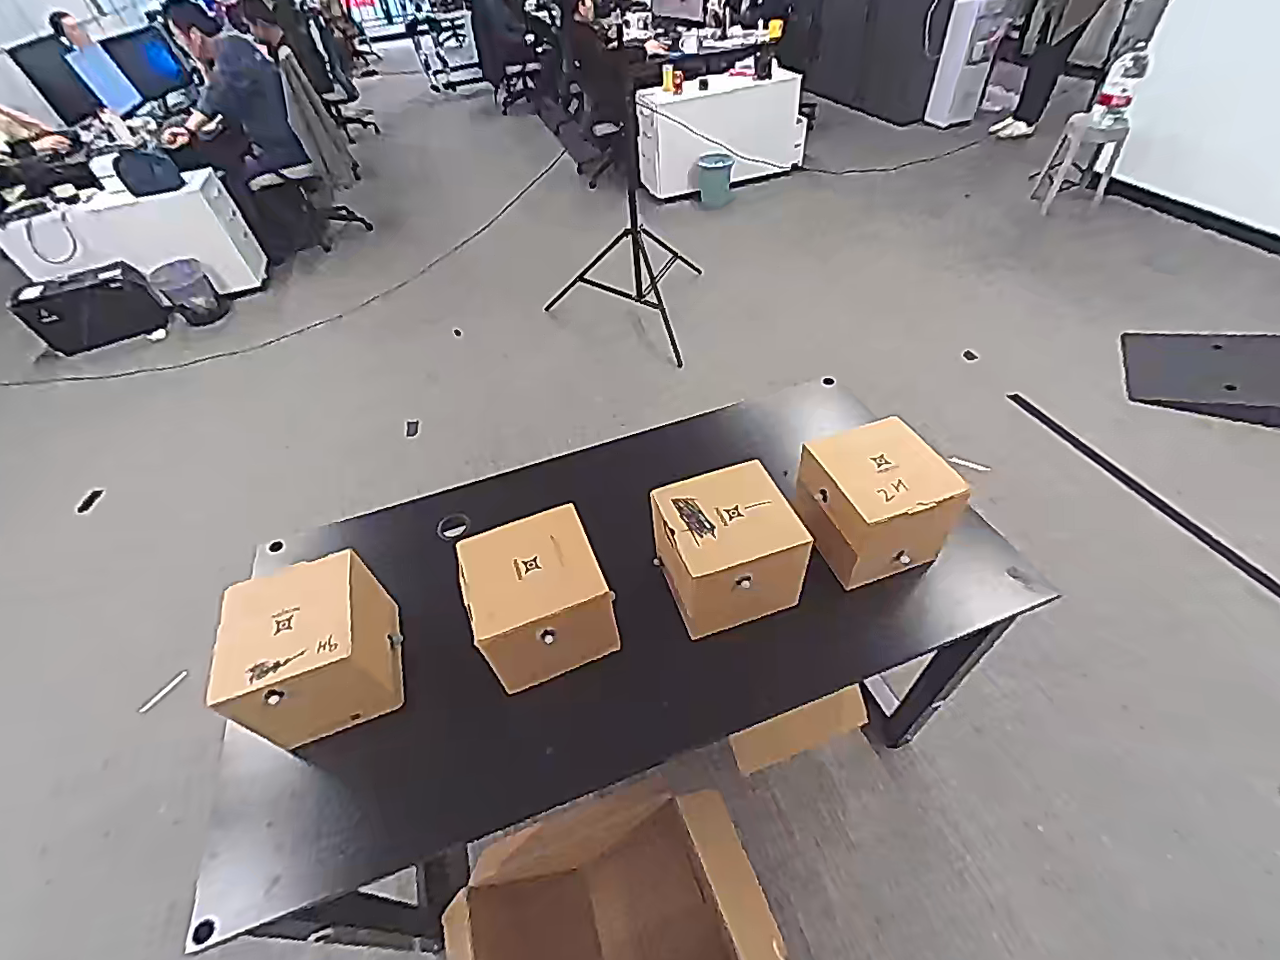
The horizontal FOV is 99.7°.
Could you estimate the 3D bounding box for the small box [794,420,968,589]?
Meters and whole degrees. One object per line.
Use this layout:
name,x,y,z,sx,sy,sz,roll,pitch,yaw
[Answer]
small box,0.358,0.039,0.847,0.168,0.176,0.179,-17,47,-8

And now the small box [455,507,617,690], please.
small box,-0.145,0.173,0.780,0.179,0.176,0.168,-19,49,-12

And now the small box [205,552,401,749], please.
small box,-0.448,0.236,0.751,0.168,0.176,0.179,-18,47,-11

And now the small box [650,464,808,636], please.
small box,0.125,0.108,0.809,0.179,0.176,0.168,-15,47,-9
